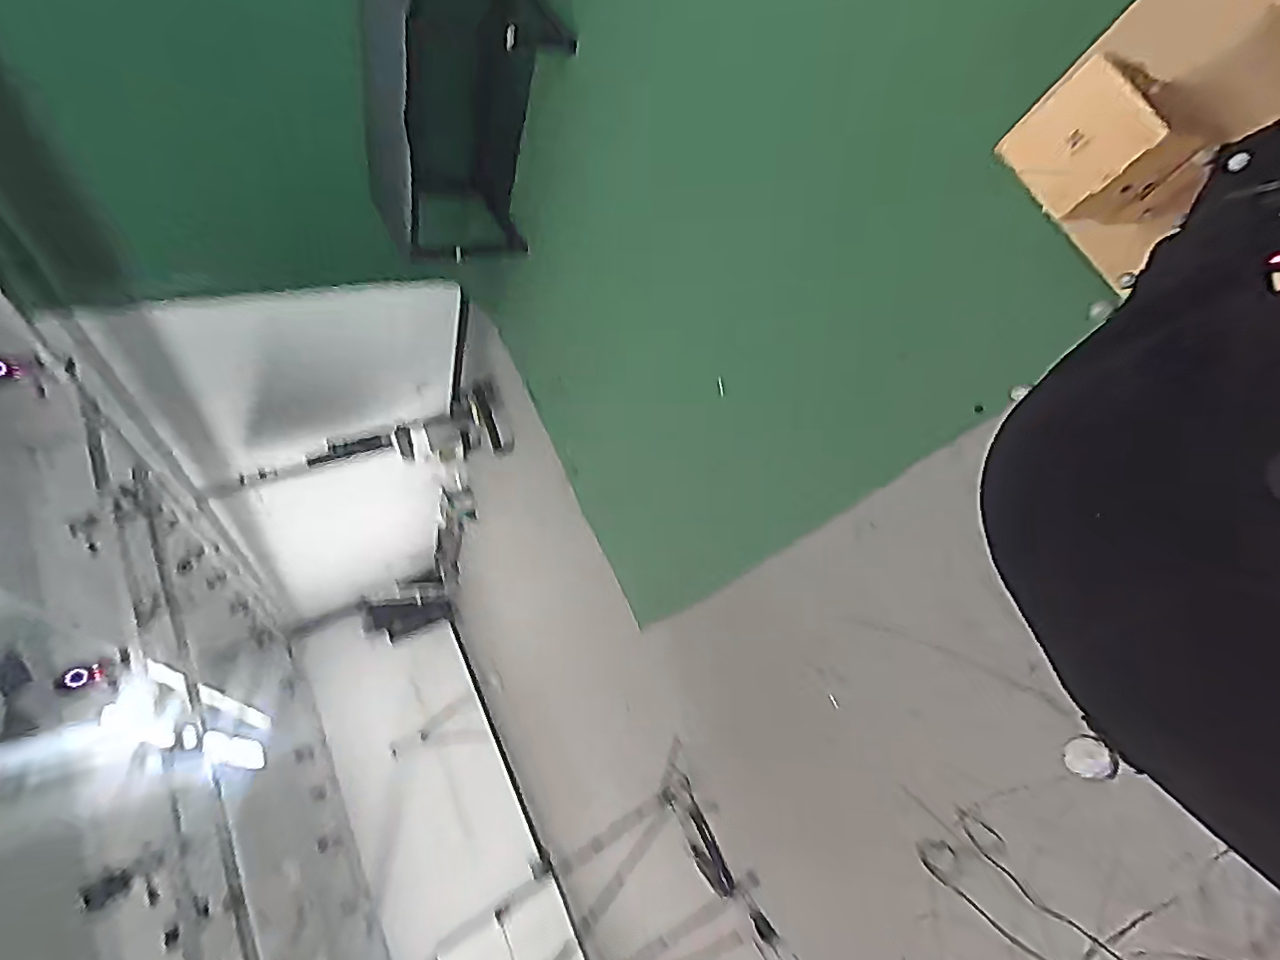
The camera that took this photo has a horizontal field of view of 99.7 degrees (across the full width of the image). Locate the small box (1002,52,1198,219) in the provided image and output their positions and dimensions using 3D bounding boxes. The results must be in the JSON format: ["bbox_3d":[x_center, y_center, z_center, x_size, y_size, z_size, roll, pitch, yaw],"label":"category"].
[{"bbox_3d":[0.773,-0.569,0.914,0.179,0.176,0.168,64,149,13],"label":"small box"}]

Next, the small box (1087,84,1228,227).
[{"bbox_3d":[0.910,-0.599,0.996,0.179,0.176,0.168,65,150,15],"label":"small box"}]
